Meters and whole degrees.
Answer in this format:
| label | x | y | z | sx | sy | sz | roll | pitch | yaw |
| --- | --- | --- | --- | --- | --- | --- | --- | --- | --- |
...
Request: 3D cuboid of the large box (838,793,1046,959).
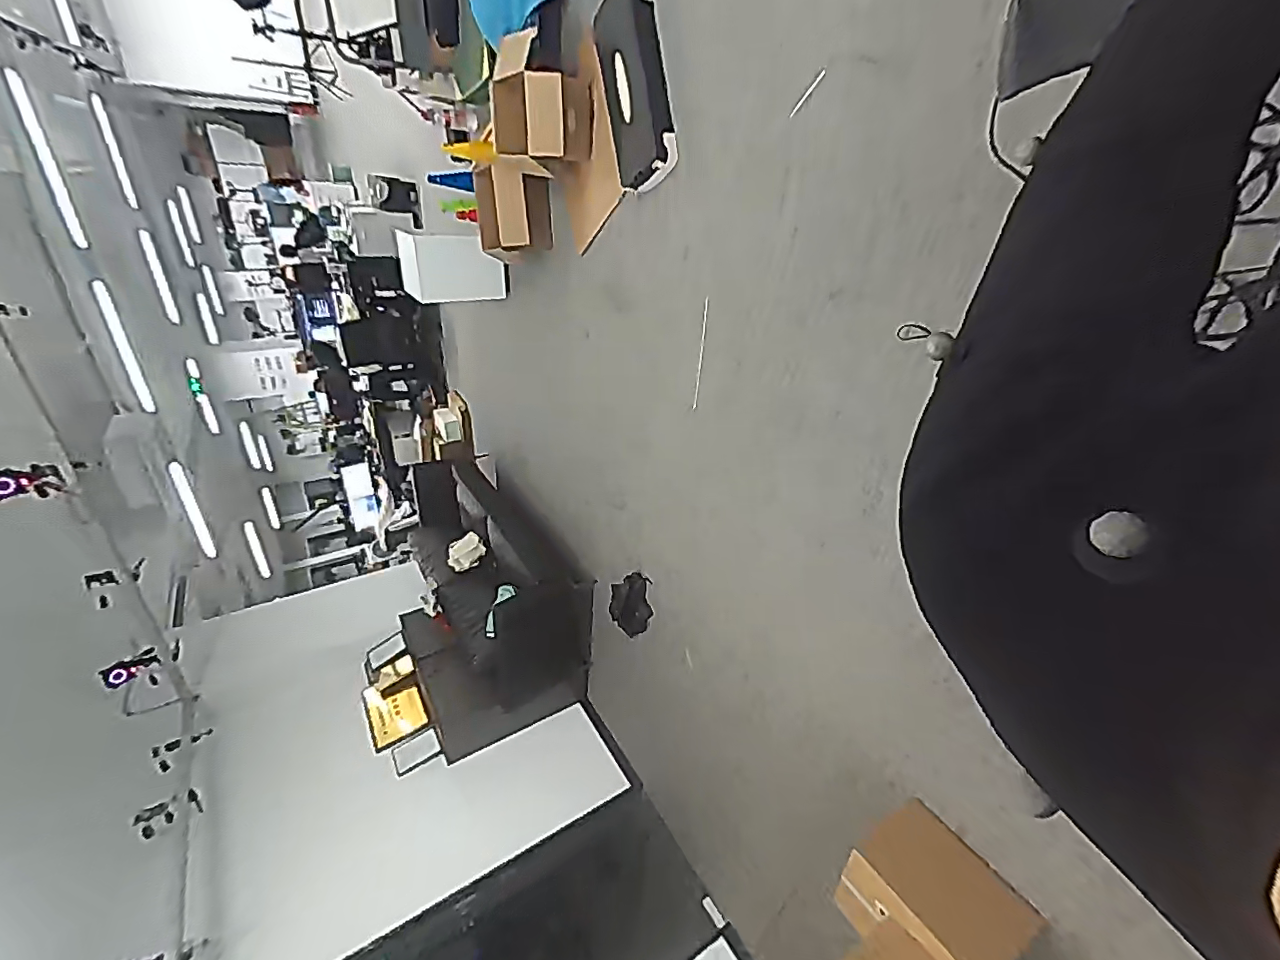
| label | x | y | z | sx | sy | sz | roll | pitch | yaw |
| --- | --- | --- | --- | --- | --- | --- | --- | --- | --- |
| large box | 0.884 | 1.265 | 1.623 | 0.408 | 0.320 | 0.320 | 39 | 134 | 48 |
